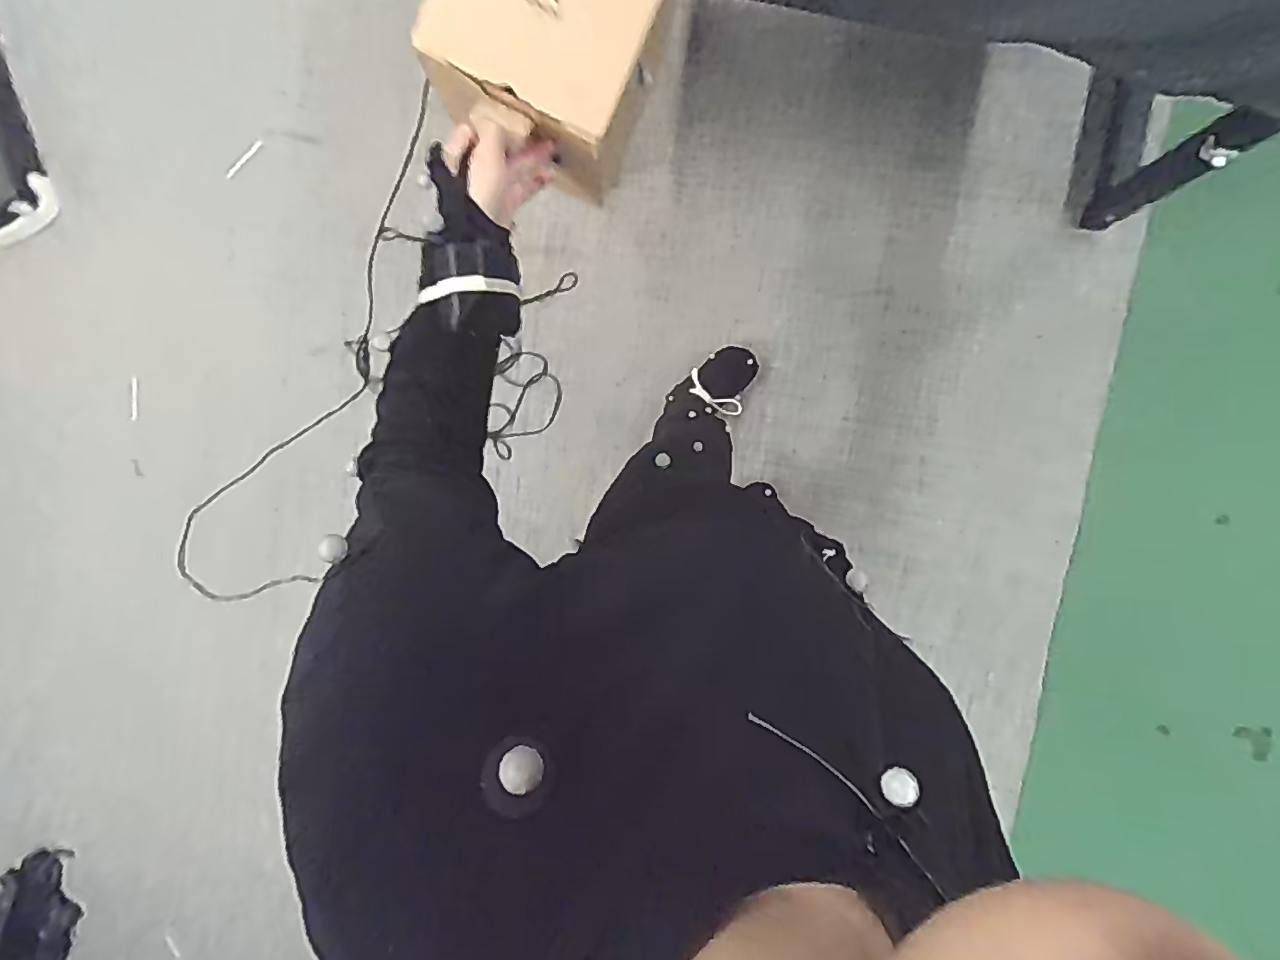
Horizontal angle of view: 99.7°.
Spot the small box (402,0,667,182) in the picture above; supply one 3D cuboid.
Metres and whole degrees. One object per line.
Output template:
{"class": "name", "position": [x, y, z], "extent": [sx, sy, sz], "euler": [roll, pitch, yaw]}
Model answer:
{"class": "small box", "position": [-0.077, -0.406, 0.483], "extent": [0.168, 0.176, 0.179], "euler": [23, 97, -7]}
